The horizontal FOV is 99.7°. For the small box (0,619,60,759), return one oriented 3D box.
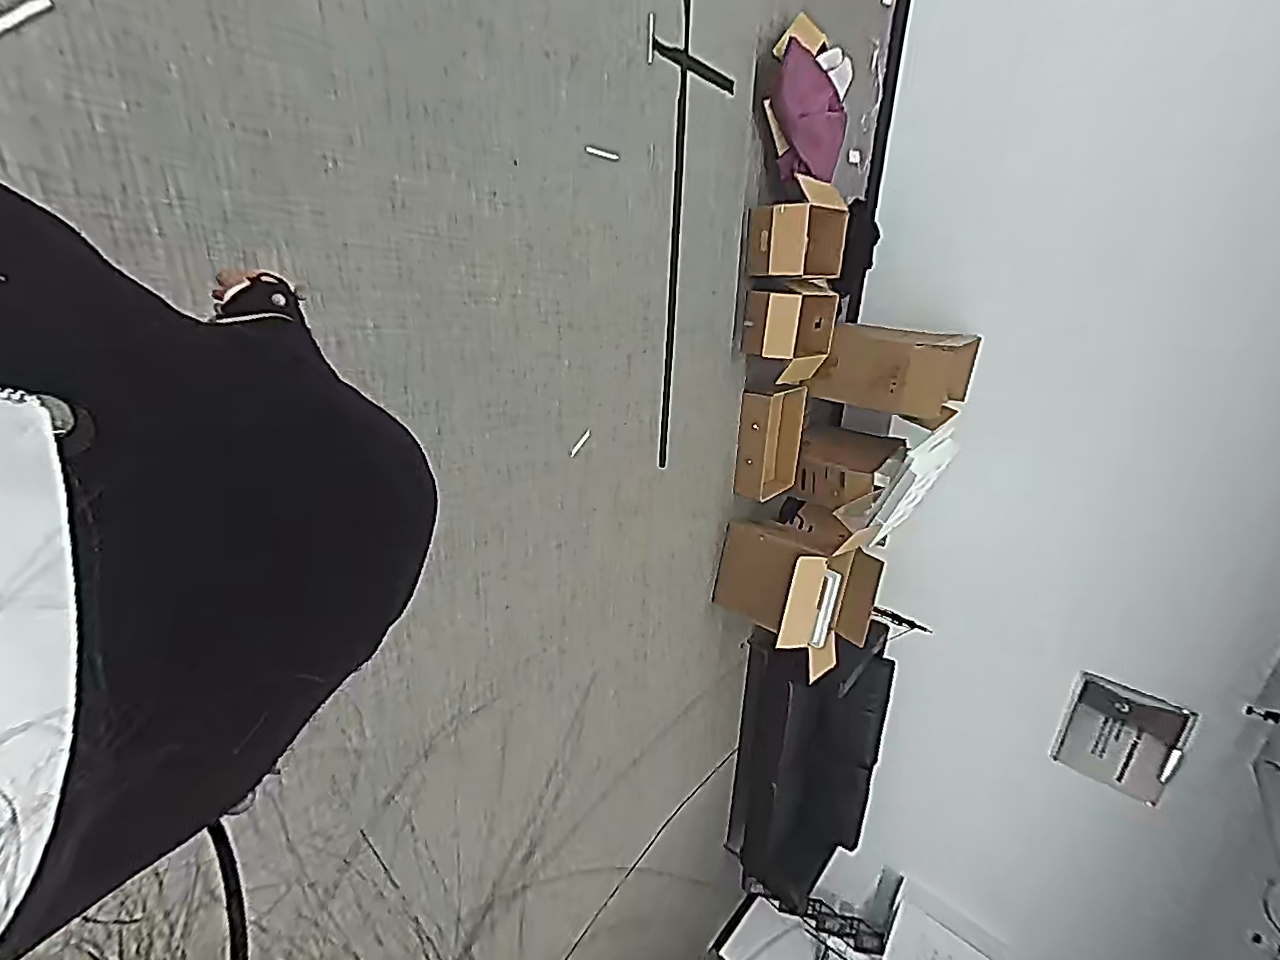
[{"bbox_3d":[-1.144,0.373,0.936,0.168,0.176,0.179,-15,116,-48],"label":"small box"}]
